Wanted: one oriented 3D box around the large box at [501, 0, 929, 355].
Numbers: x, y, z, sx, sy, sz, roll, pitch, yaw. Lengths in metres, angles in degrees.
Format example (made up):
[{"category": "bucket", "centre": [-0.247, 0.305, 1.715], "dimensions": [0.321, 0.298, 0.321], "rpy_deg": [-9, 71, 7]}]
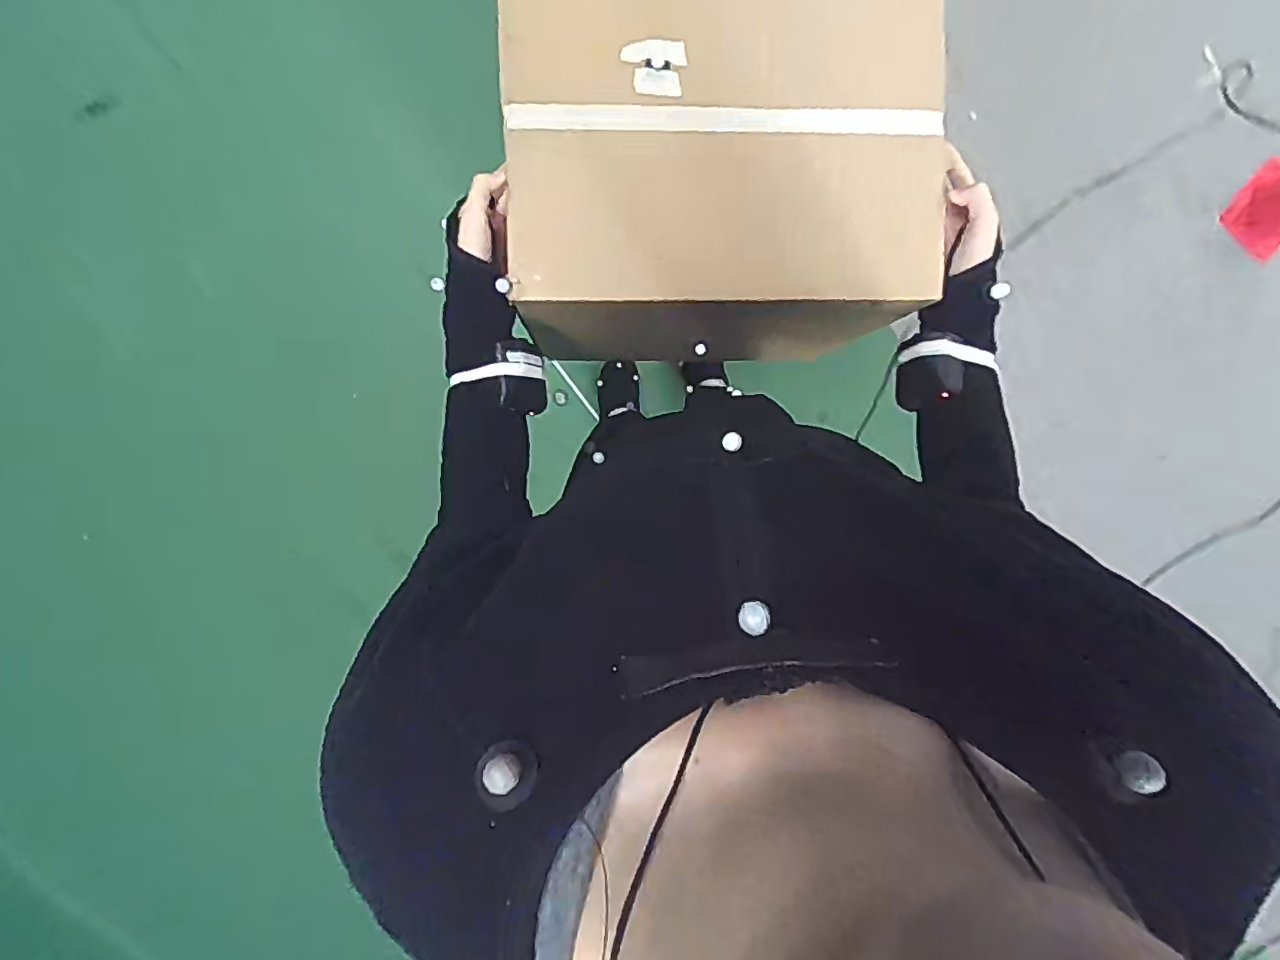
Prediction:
[{"category": "large box", "centre": [0.069, -0.330, 0.652], "dimensions": [0.408, 0.320, 0.320], "rpy_deg": [-1, 92, -3]}]
